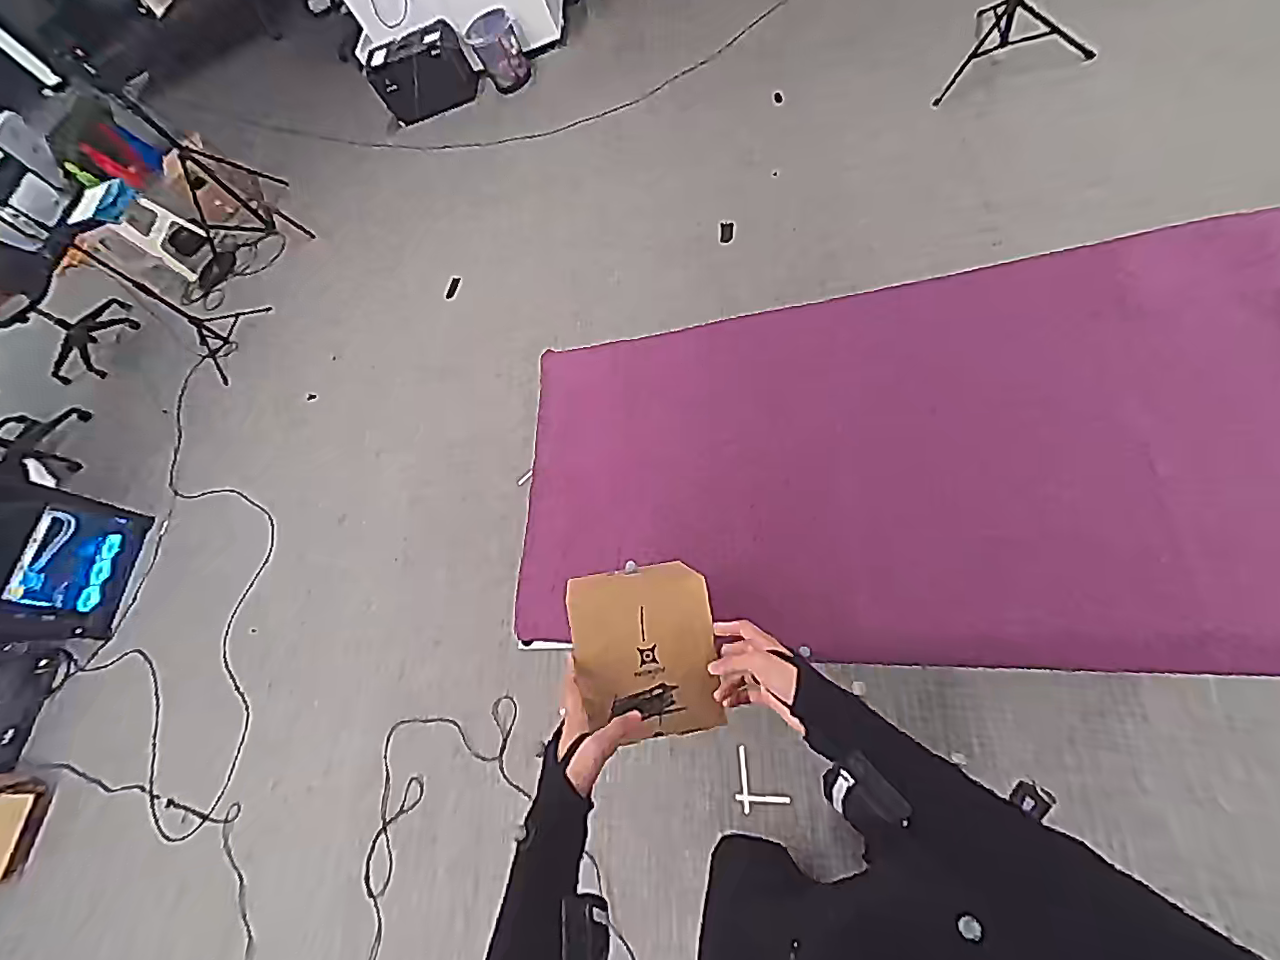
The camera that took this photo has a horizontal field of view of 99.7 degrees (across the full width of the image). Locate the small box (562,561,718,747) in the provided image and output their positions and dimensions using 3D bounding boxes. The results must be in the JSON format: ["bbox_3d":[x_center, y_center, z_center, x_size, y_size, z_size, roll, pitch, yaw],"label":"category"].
[{"bbox_3d":[-0.006,0.211,0.704,0.168,0.176,0.179,-8,88,-7],"label":"small box"}]
